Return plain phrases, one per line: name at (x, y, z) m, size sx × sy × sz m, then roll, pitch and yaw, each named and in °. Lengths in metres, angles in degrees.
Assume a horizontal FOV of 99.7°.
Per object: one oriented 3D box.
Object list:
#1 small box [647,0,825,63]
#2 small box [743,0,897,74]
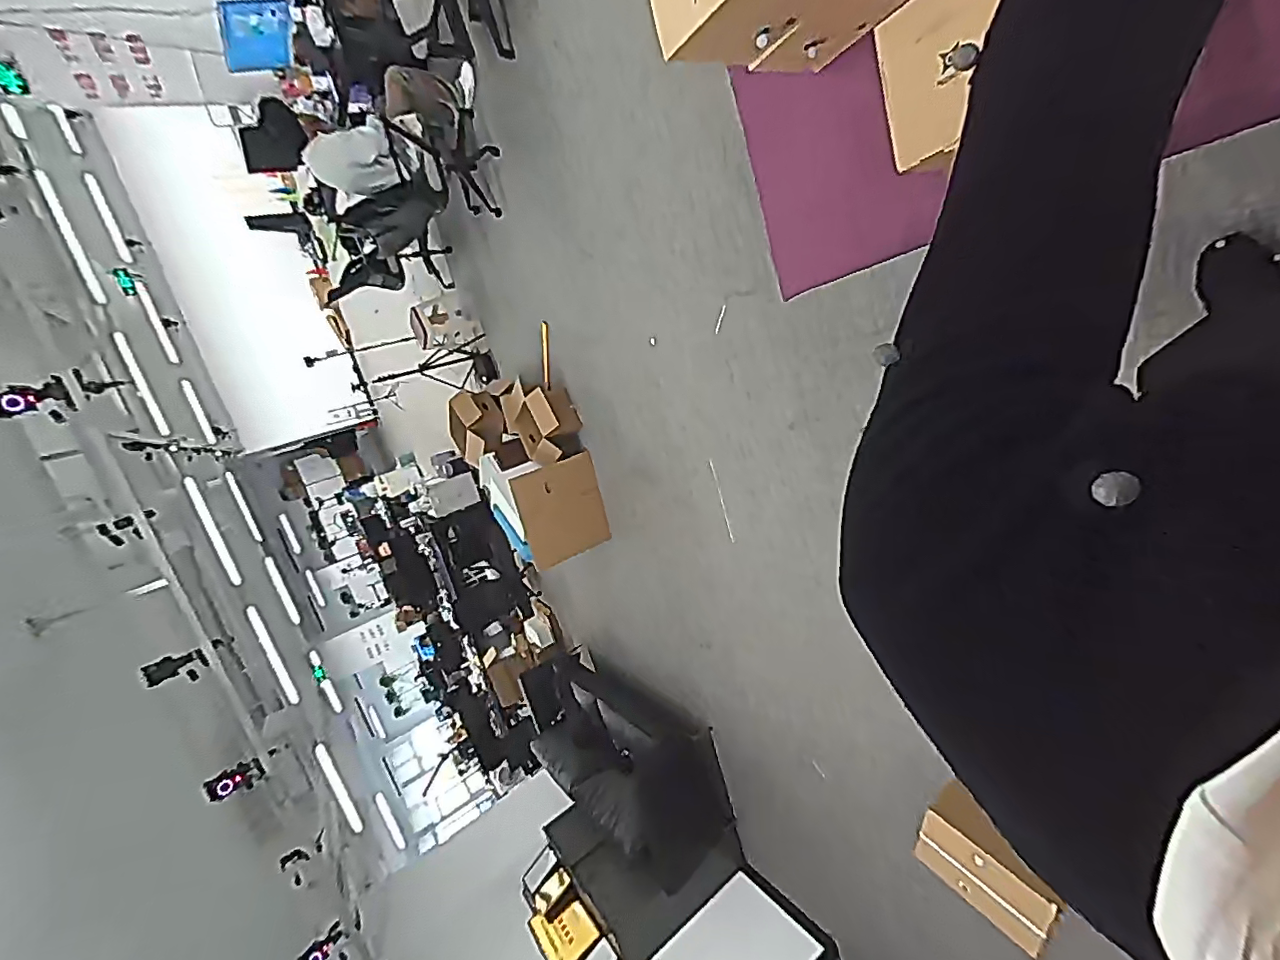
small box at (0.118, -0.680, 0.699) m, size 0.168 × 0.176 × 0.179 m, roll 7°, pitch 116°, yaw 57°
small box at (0.246, -0.734, 0.787) m, size 0.168 × 0.176 × 0.179 m, roll -1°, pitch 108°, yaw 58°
